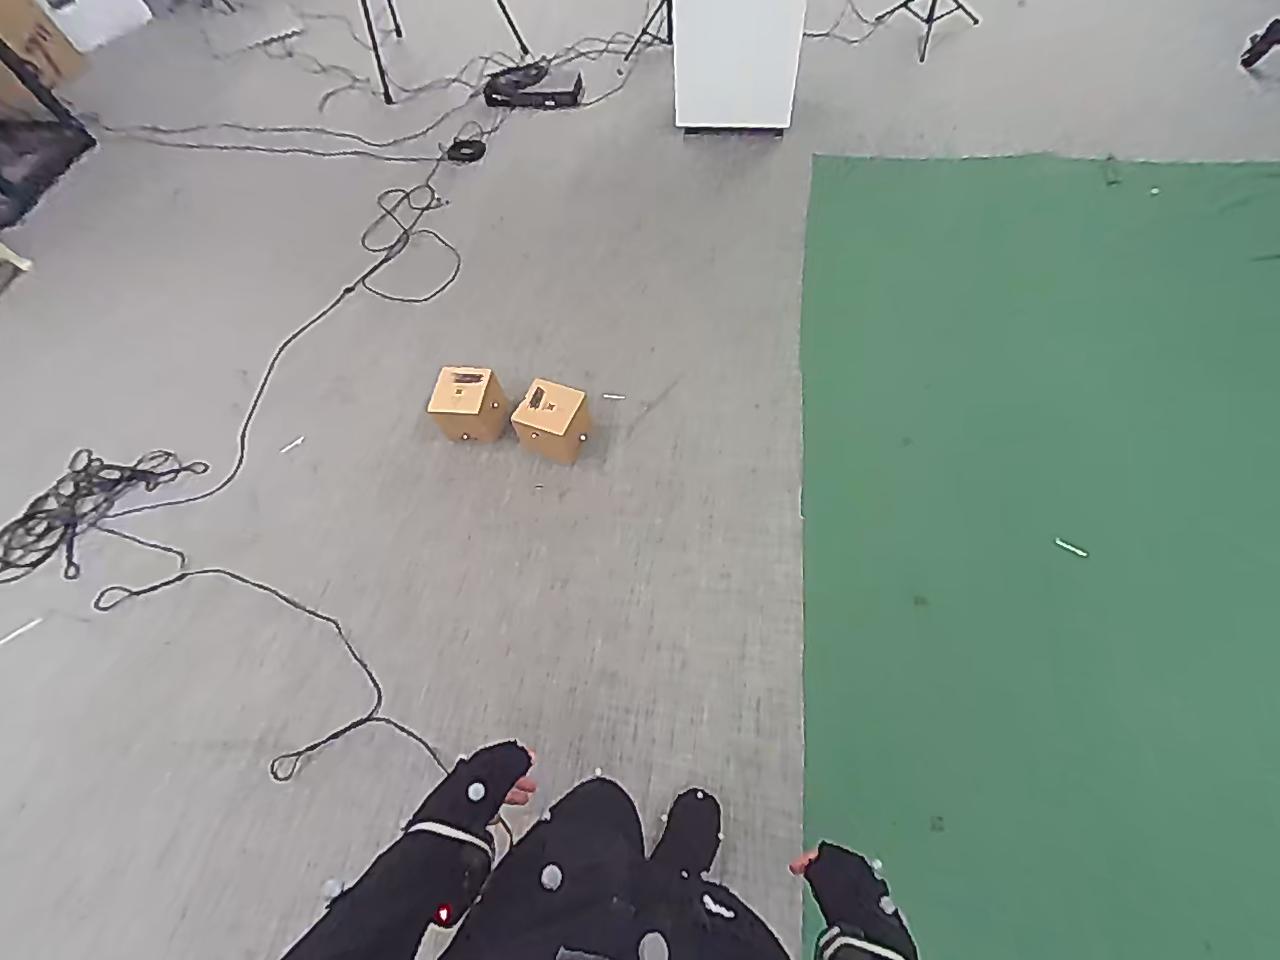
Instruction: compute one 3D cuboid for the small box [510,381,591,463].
[{"bbox_3d":[-0.270,-0.175,1.673,0.179,0.176,0.168,19,64,14],"label":"small box"}]
